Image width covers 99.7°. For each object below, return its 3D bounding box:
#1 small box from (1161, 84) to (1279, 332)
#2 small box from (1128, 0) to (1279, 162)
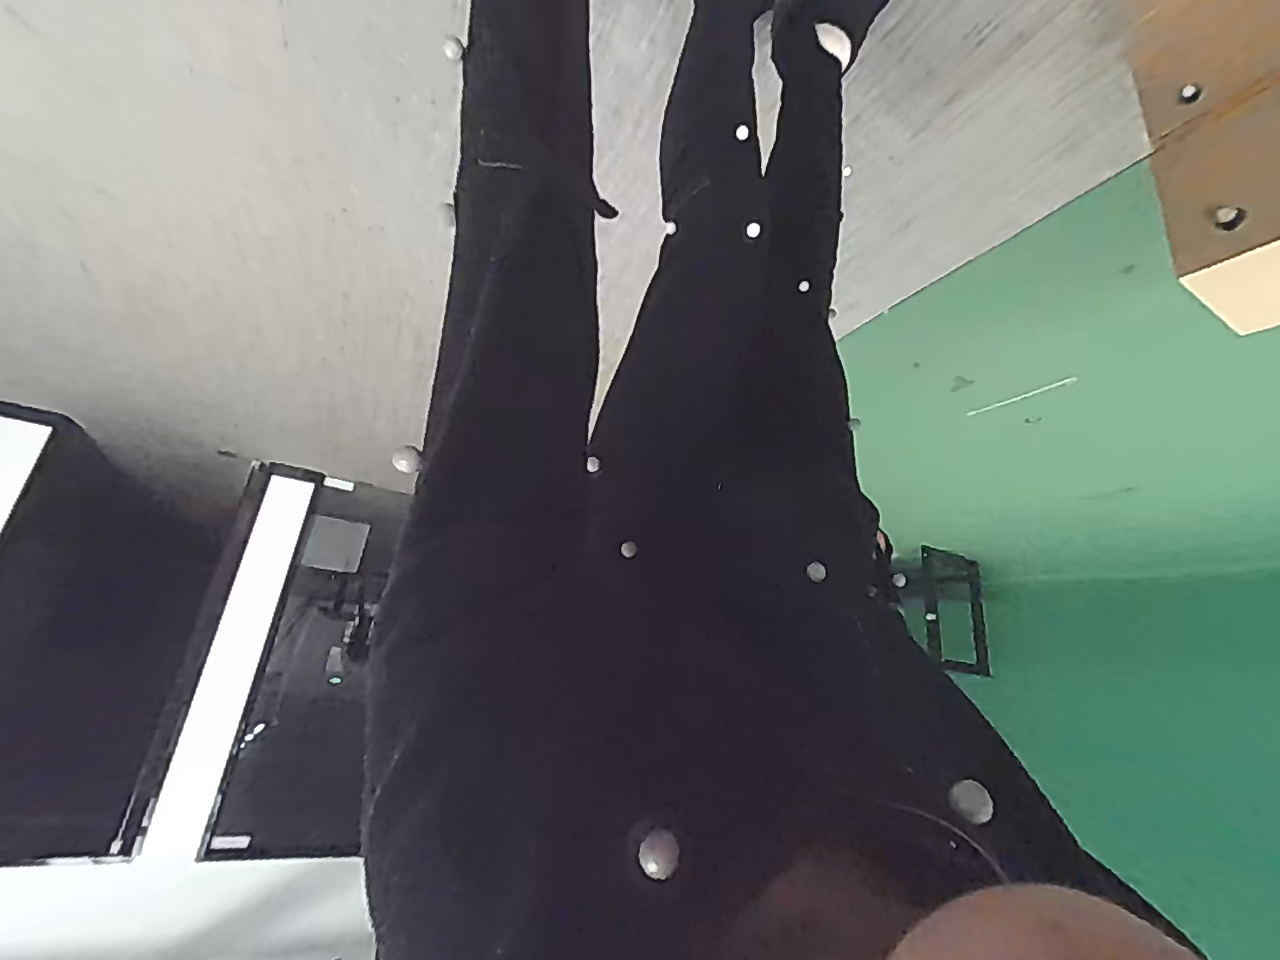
[{"bbox_3d":[0.665,-0.283,0.537,0.168,0.176,0.179,15,160,-25],"label":"small box"},{"bbox_3d":[0.675,-0.444,0.575,0.168,0.176,0.179,15,160,-25],"label":"small box"}]
